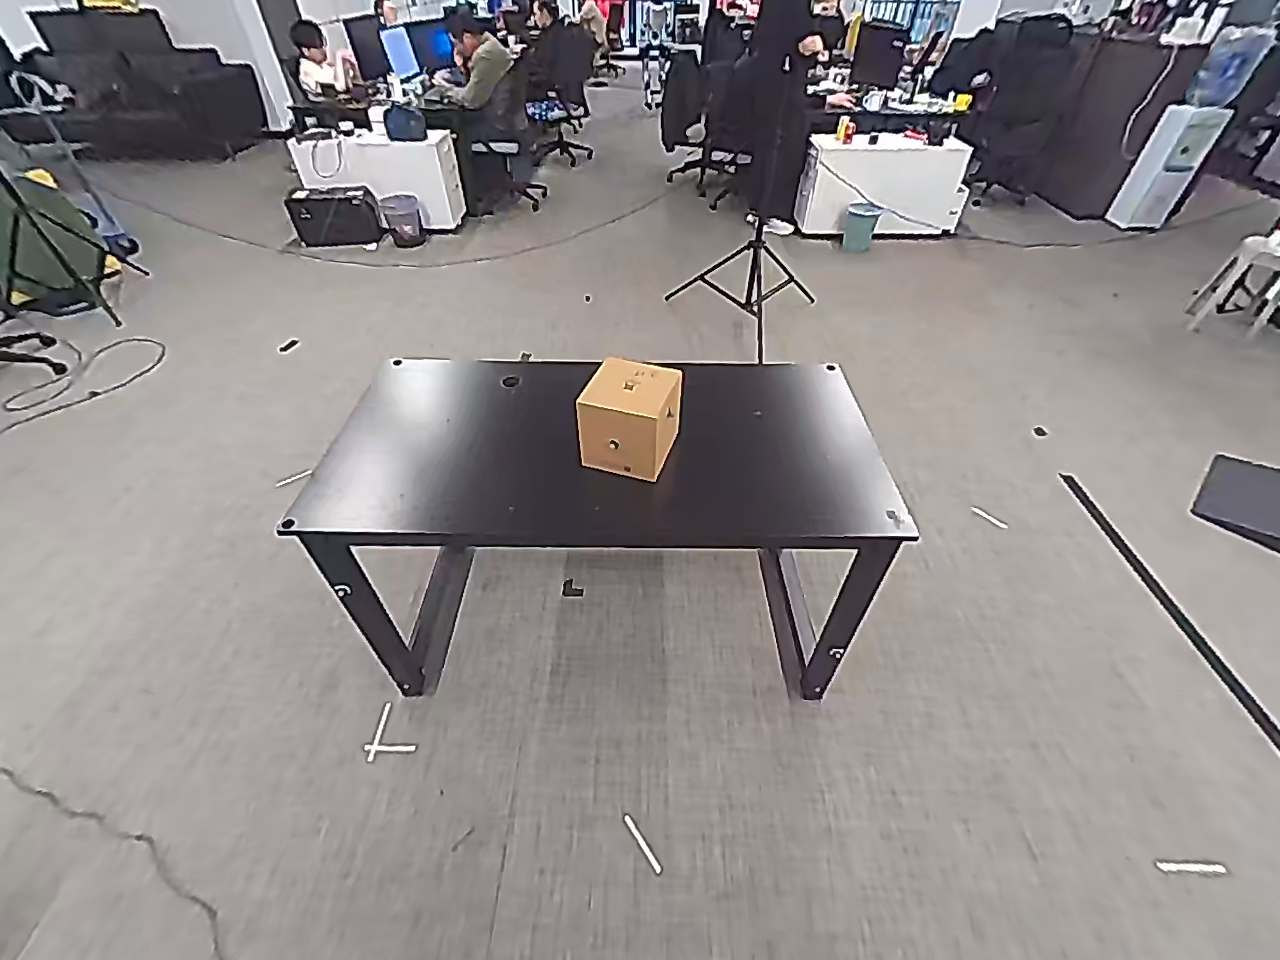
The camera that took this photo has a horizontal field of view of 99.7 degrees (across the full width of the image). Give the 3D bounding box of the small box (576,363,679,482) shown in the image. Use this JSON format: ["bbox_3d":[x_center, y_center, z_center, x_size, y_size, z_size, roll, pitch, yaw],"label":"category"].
[{"bbox_3d":[-0.021,-0.120,1.143,0.168,0.176,0.179,13,45,13],"label":"small box"}]
